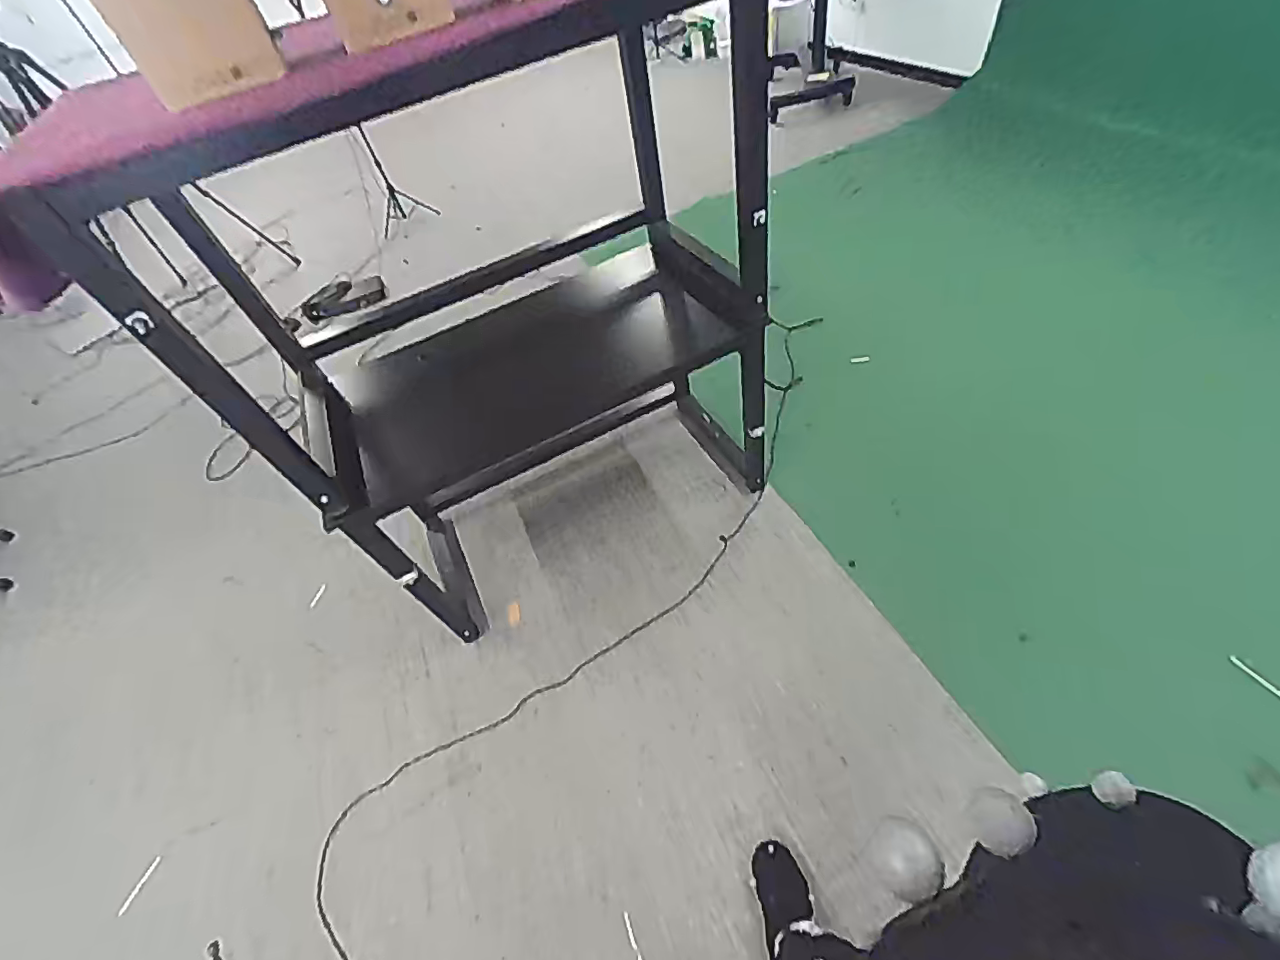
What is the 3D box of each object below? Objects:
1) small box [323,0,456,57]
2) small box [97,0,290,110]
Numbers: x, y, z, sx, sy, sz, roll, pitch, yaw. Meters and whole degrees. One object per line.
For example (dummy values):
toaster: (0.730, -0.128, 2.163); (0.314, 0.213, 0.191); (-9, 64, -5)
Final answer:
small box: (-0.394, -0.750, 0.793); (0.168, 0.176, 0.179); (-26, 50, -9)
small box: (-0.618, -0.640, 0.749); (0.168, 0.176, 0.179); (-27, 49, -10)
